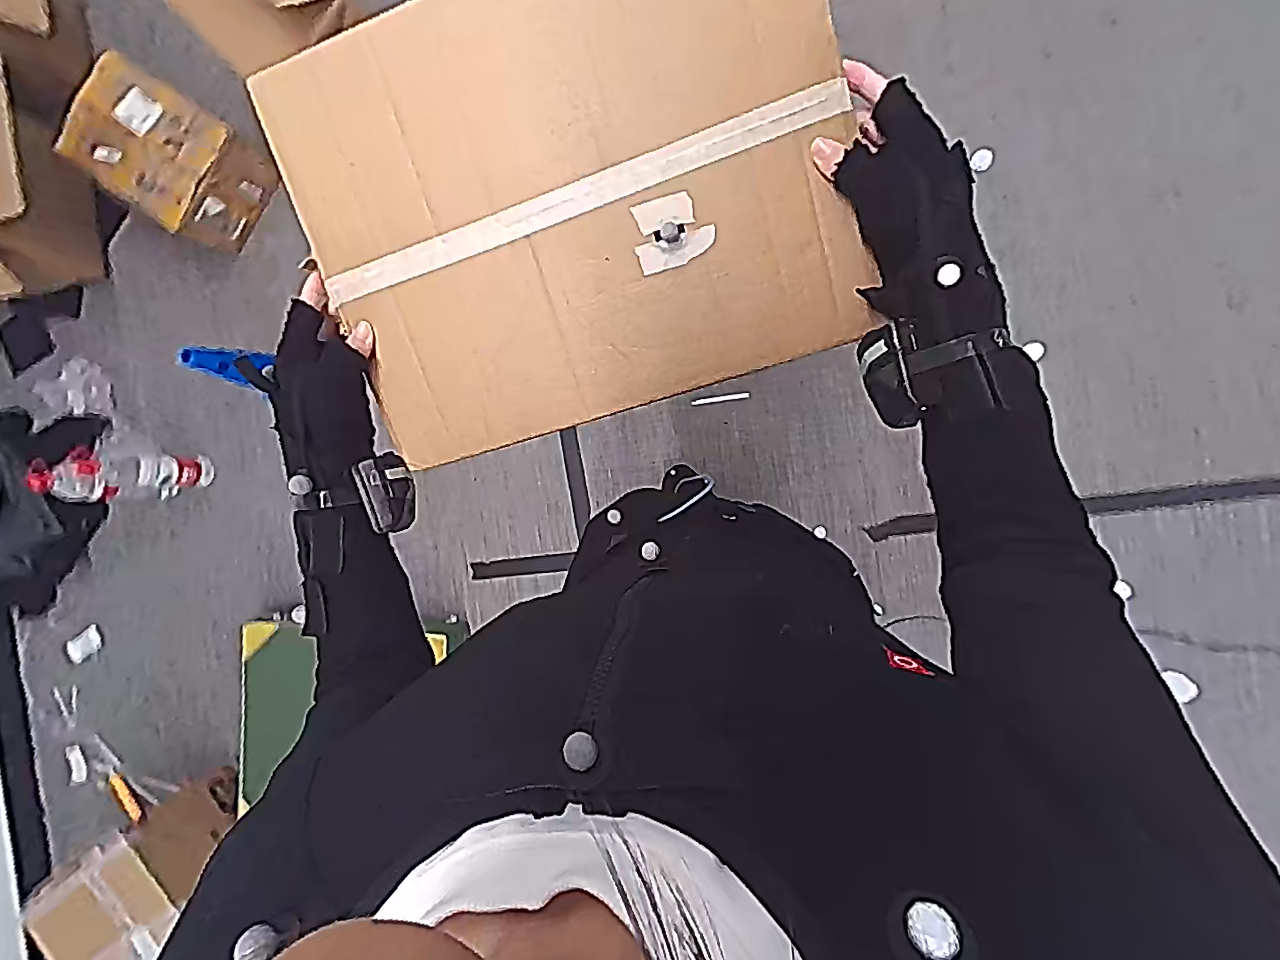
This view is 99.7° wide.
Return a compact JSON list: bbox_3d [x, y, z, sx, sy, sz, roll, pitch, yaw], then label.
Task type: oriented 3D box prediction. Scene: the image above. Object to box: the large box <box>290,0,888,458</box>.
[{"bbox_3d":[-0.027,-0.246,0.554,0.408,0.320,0.320,-15,103,10],"label":"large box"}]
